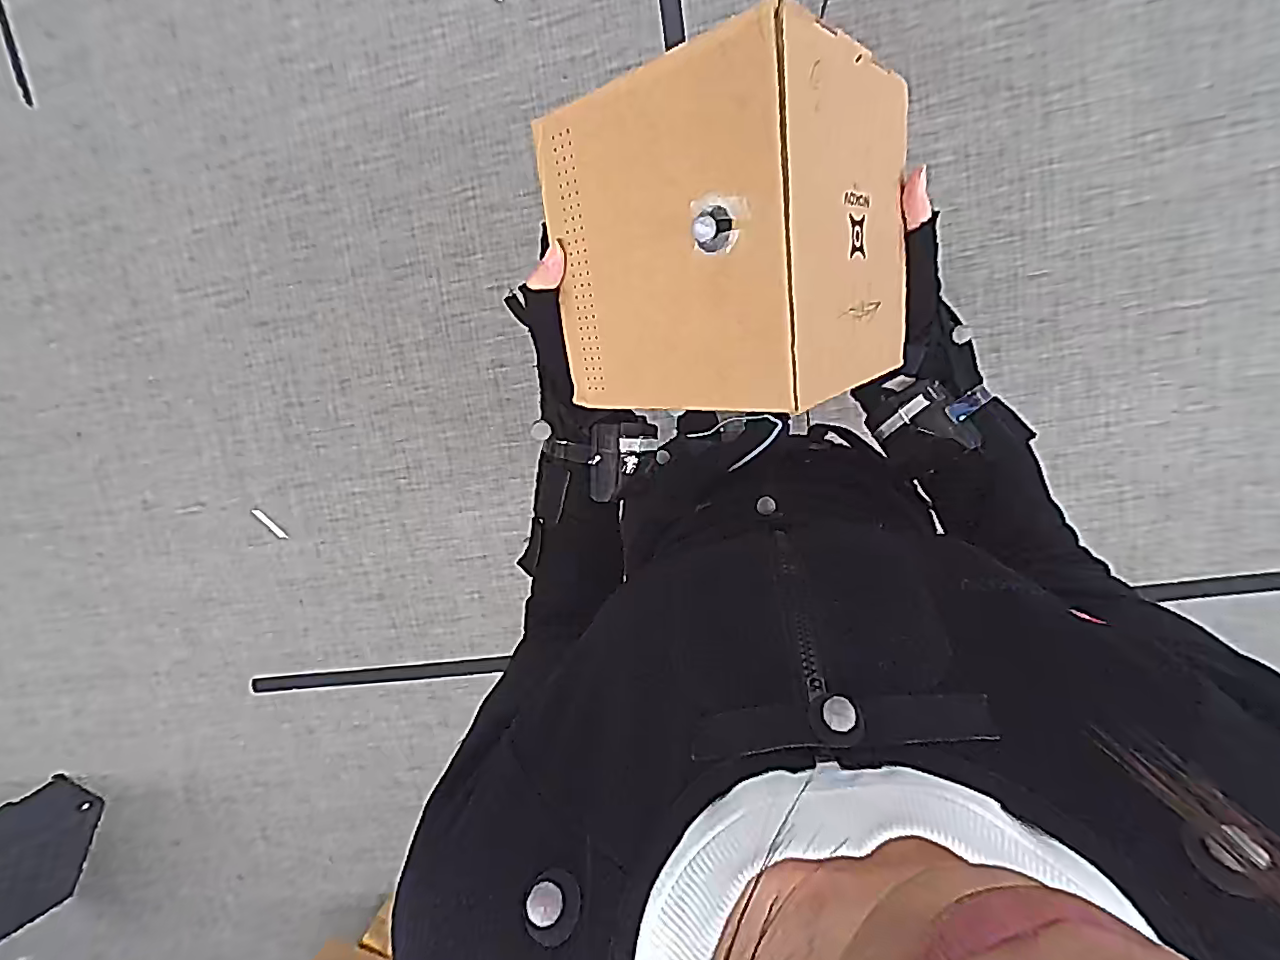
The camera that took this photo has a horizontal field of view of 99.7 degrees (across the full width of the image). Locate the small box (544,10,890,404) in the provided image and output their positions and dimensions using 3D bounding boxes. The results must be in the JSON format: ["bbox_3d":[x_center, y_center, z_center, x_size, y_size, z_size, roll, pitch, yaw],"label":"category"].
[{"bbox_3d":[0.054,-0.150,0.364,0.176,0.168,0.179,7,111,41],"label":"small box"}]
